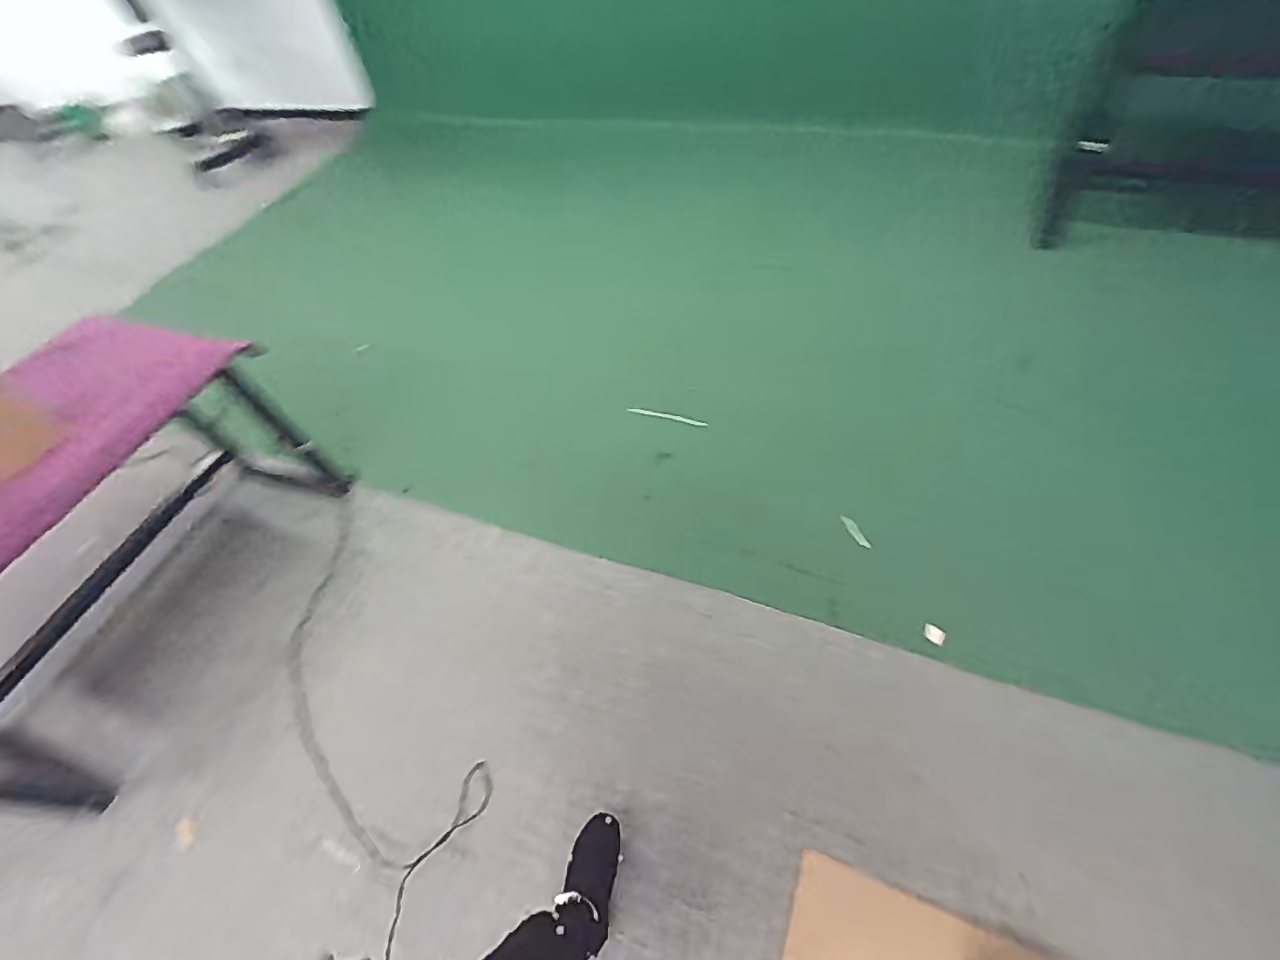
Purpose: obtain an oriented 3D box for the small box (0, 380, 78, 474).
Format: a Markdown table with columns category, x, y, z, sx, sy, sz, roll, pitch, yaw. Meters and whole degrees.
| category | x | y | z | sx | sy | sz | roll | pitch | yaw |
| --- | --- | --- | --- | --- | --- | --- | --- | --- | --- |
| small box | -1.562 | -0.143 | 1.319 | 0.168 | 0.176 | 0.179 | 21 | 59 | 21 |
